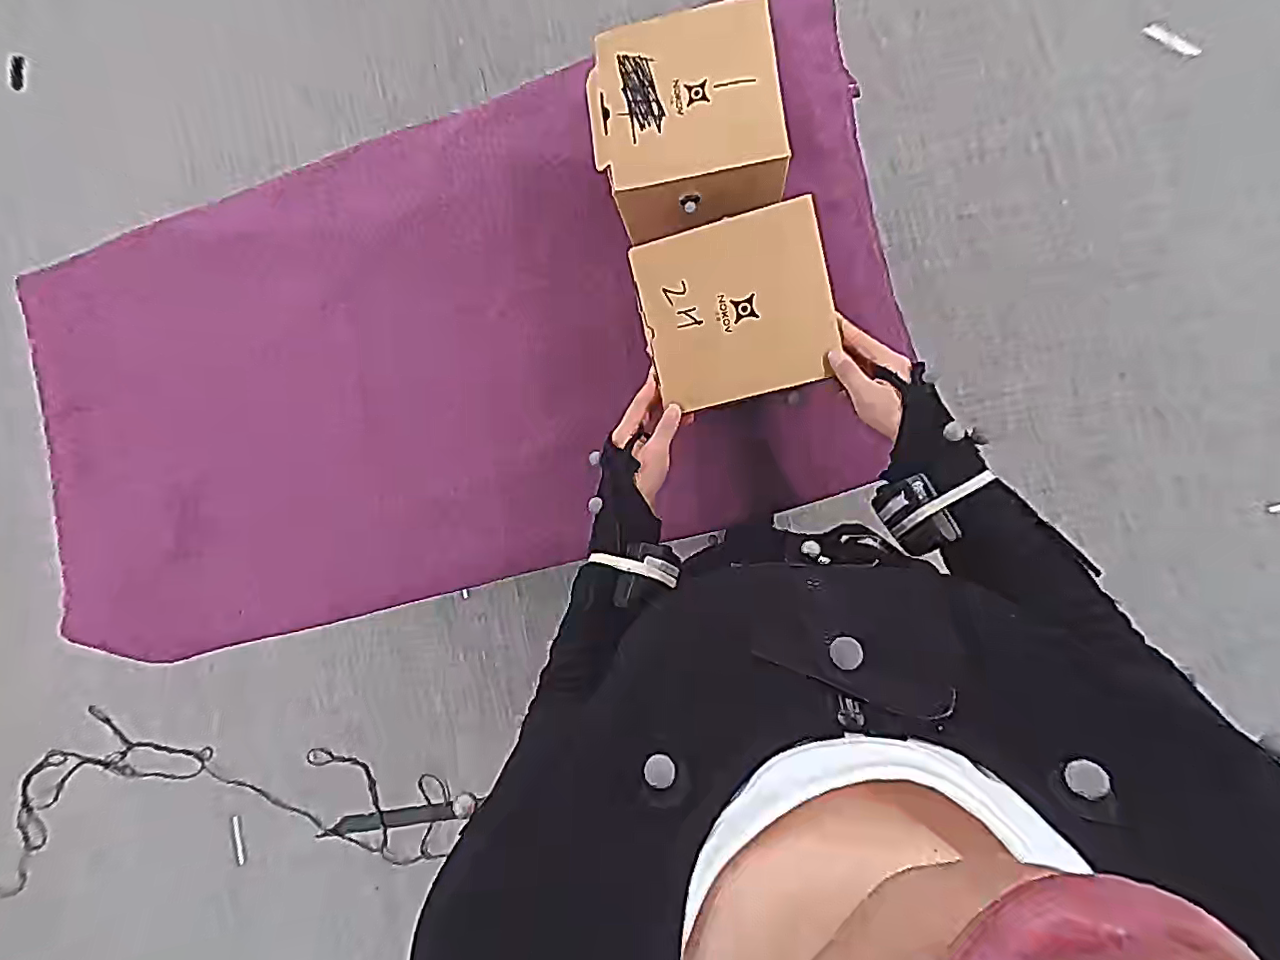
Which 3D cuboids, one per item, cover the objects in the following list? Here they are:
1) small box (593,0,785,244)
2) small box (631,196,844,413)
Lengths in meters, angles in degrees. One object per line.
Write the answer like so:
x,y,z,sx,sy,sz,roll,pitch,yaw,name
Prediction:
0.059,-0.380,0.611,0.179,0.176,0.168,-8,89,8,small box
0.103,-0.173,0.588,0.179,0.176,0.168,-12,95,11,small box
